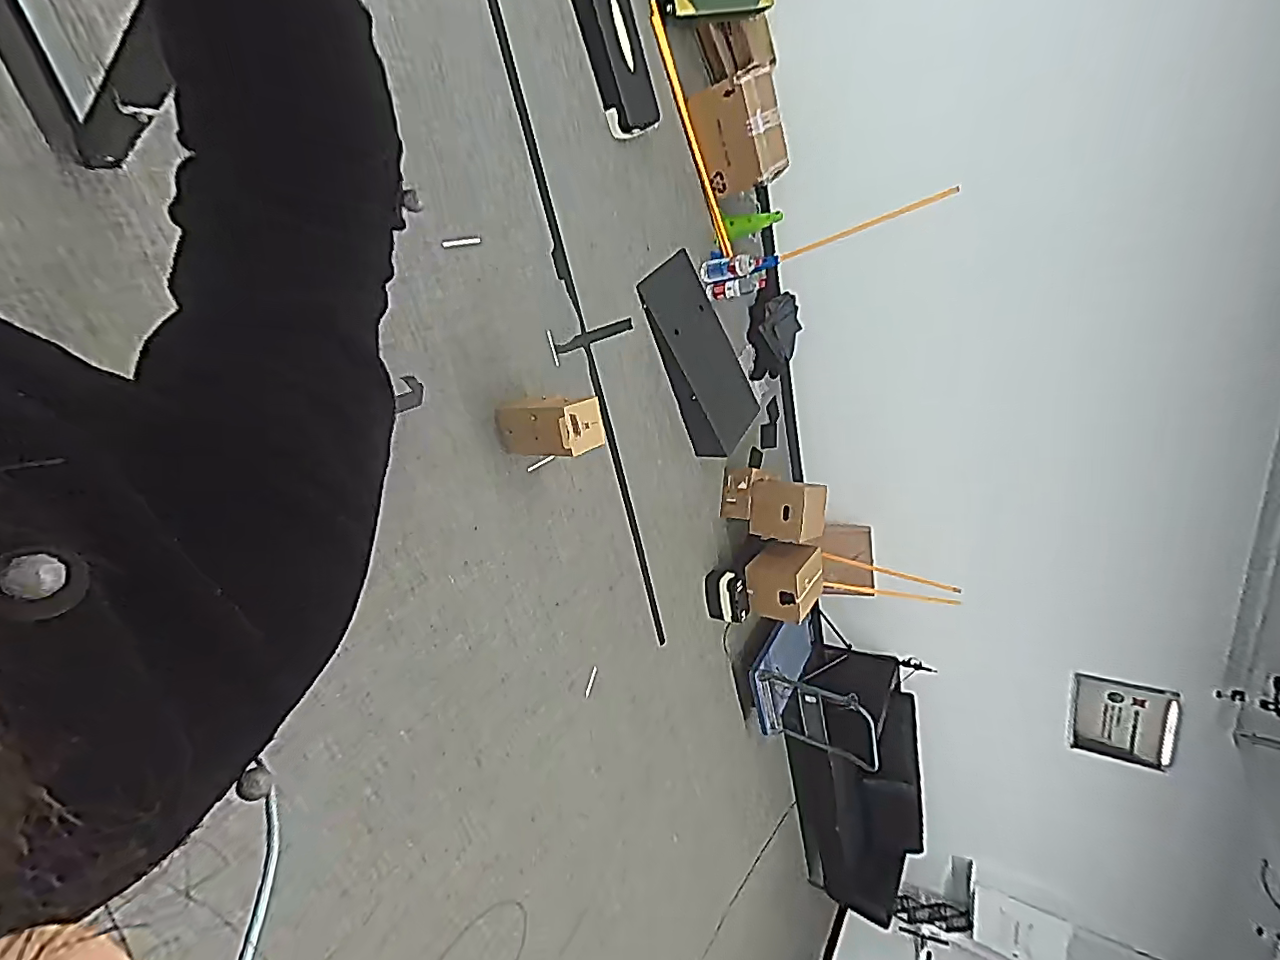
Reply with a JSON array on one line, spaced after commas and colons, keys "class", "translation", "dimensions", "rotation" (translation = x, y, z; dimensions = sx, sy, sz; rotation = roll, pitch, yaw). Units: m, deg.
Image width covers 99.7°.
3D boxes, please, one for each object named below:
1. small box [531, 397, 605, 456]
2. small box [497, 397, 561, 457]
[{"class": "small box", "translation": [-0.248, -0.179, 1.821], "dimensions": [0.179, 0.176, 0.168], "rotation": [-29, 116, -50]}, {"class": "small box", "translation": [-0.378, -0.193, 1.922], "dimensions": [0.168, 0.176, 0.179], "rotation": [-35, 121, -47]}]
